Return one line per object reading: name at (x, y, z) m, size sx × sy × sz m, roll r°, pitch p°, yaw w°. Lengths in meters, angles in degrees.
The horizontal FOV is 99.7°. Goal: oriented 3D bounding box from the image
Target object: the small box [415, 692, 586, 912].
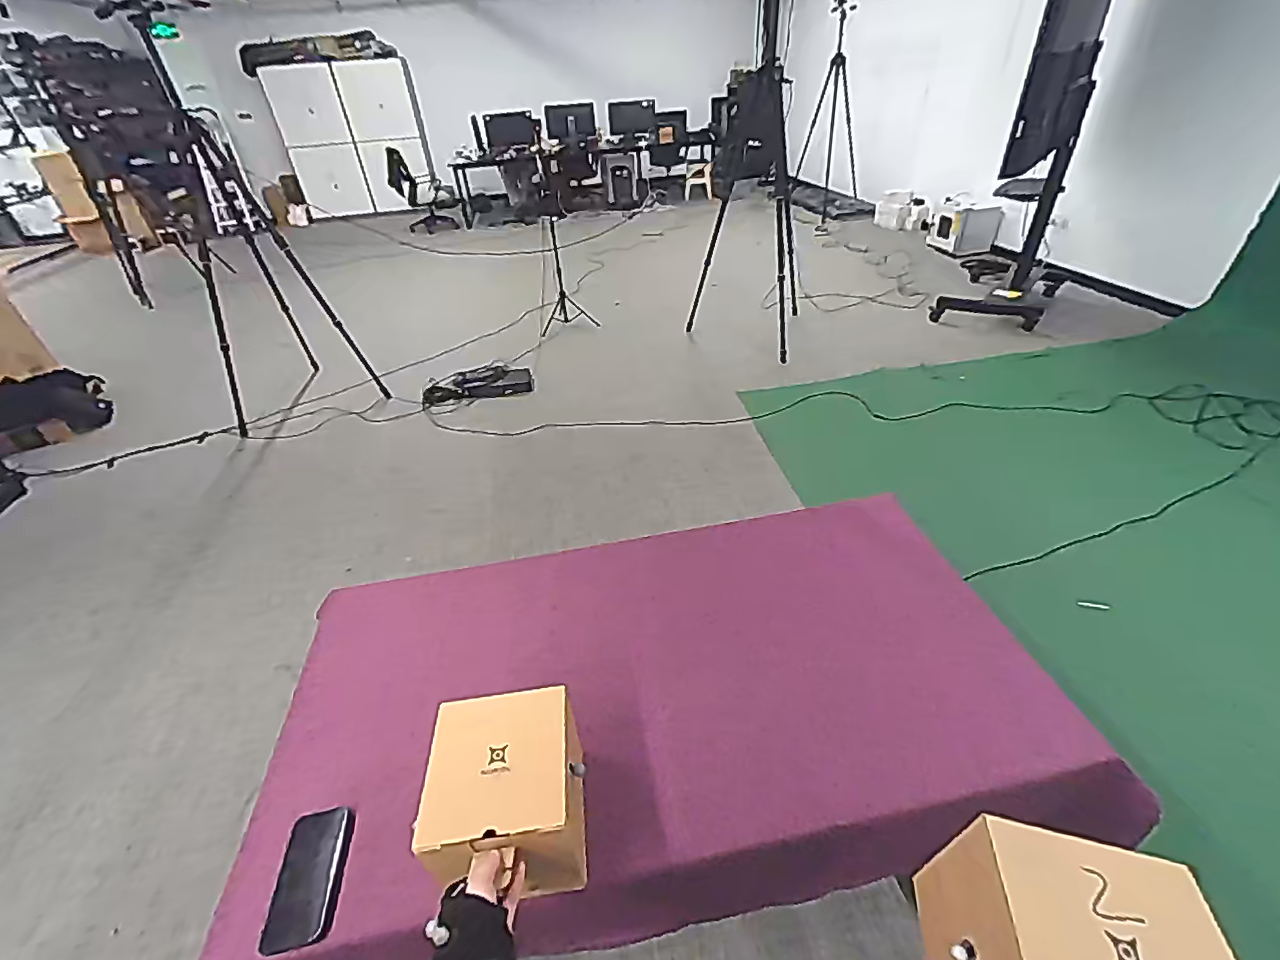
small box at (-0.161, 0.401, 0.683) m, size 0.168 × 0.176 × 0.179 m, roll -6°, pitch 35°, yaw -4°
